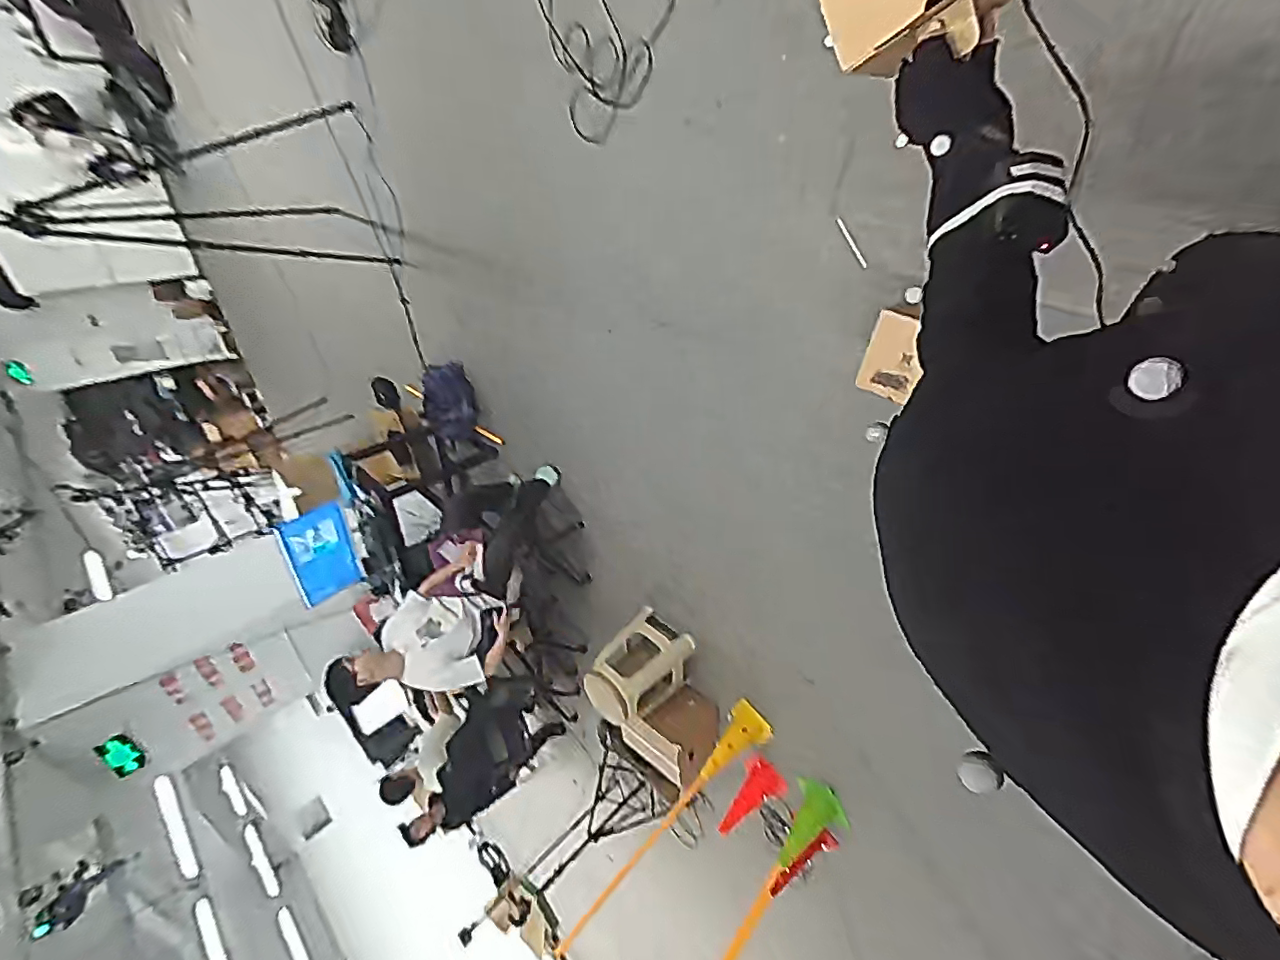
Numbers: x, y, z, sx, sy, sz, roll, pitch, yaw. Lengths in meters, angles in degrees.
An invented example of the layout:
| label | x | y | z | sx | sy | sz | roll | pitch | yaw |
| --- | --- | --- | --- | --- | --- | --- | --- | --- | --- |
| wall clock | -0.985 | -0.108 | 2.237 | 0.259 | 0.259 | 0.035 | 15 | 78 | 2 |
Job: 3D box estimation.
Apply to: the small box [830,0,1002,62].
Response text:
| label | x | y | z | sx | sy | sz | roll | pitch | yaw |
| --- | --- | --- | --- | --- | --- | --- | --- | --- | --- |
| small box | 0.265 | -0.517 | 0.486 | 0.168 | 0.176 | 0.179 | -13 | 111 | 46 |

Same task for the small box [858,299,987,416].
| label | x | y | z | sx | sy | sz | roll | pitch | yaw |
| --- | --- | --- | --- | --- | --- | --- | --- | --- | --- |
| small box | 0.603 | -0.266 | 1.155 | 0.168 | 0.176 | 0.179 | 34 | 134 | 32 |
